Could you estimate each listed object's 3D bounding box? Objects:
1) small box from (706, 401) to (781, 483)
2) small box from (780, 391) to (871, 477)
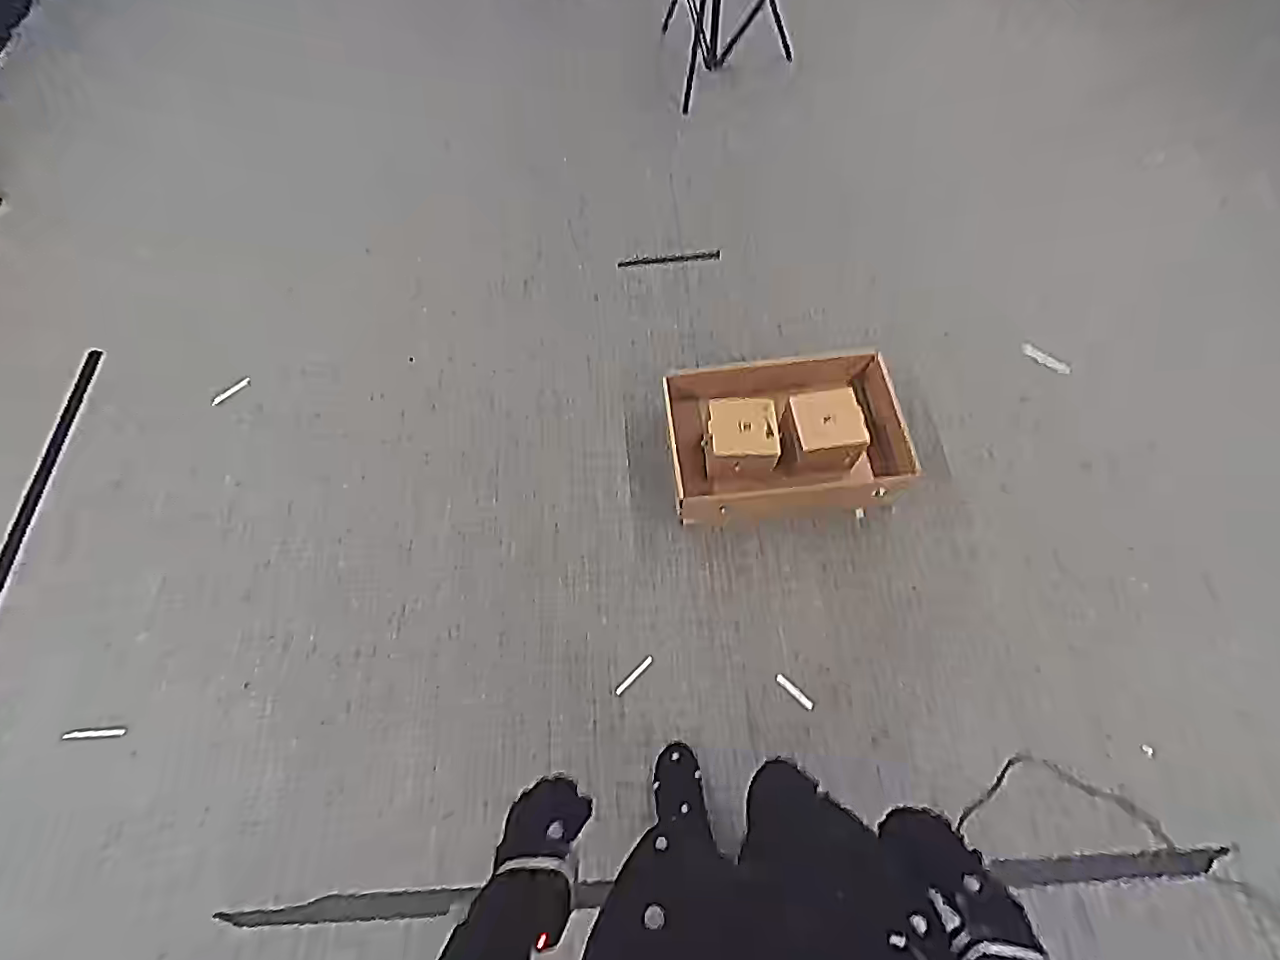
[{"bbox_3d":[0.275,-0.099,1.477,0.179,0.176,0.168,-2,66,1],"label":"small box"},{"bbox_3d":[0.498,-0.121,1.479,0.179,0.176,0.168,-8,65,1],"label":"small box"}]
